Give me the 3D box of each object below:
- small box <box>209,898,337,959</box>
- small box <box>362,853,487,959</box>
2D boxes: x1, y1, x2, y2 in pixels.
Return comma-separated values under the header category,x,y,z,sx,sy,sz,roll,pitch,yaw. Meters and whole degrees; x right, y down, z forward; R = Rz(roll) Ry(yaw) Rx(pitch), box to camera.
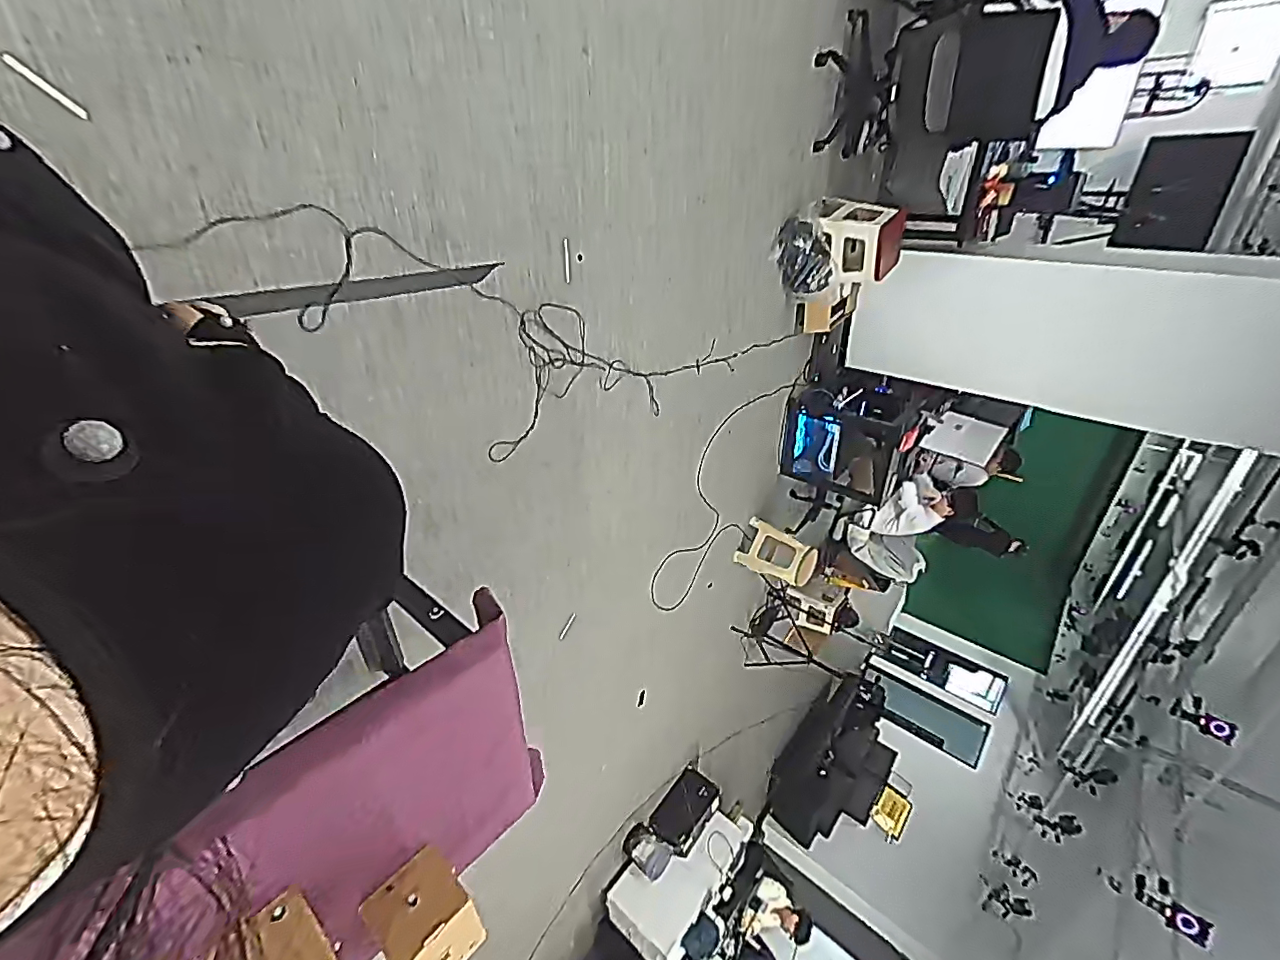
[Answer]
category,x,y,z,sx,sy,sz,roll,pitch,yaw
small box,-0.599,0.847,0.891,0.168,0.176,0.179,-29,131,-41
small box,-0.449,0.931,1.128,0.168,0.176,0.179,-30,128,-40
